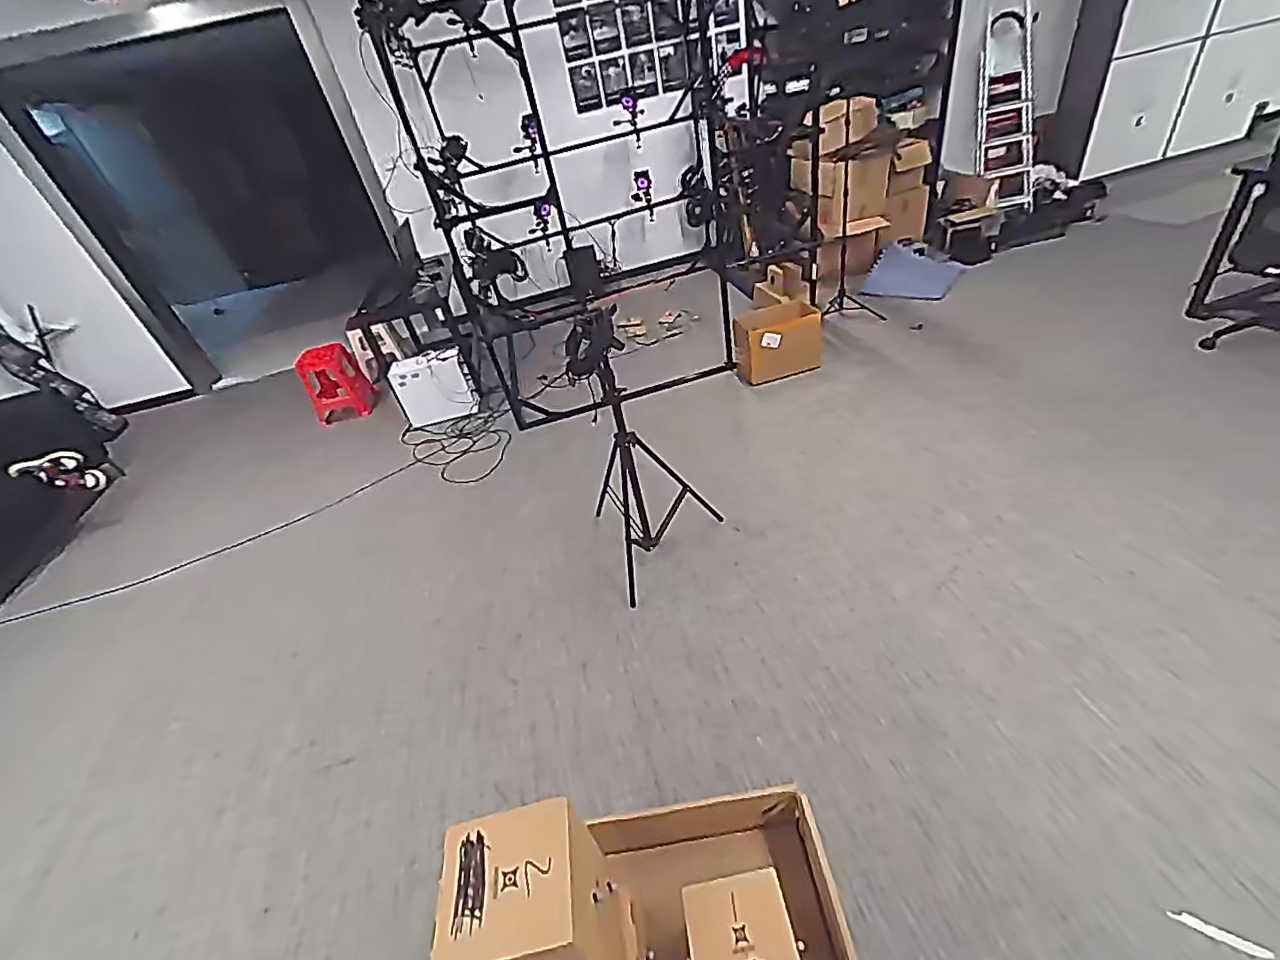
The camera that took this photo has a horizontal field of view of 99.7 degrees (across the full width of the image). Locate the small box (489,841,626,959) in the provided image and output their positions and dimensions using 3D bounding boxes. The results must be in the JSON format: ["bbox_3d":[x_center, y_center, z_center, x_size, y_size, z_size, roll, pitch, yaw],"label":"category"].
[{"bbox_3d":[-0.121,0.696,0.823,0.168,0.176,0.179,-15,36,-2],"label":"small box"}]

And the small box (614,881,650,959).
[{"bbox_3d":[-0.081,0.823,0.919,0.179,0.176,0.168,-13,37,0],"label":"small box"}]

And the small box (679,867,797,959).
[{"bbox_3d":[0.171,0.783,0.892,0.168,0.176,0.179,-13,36,1],"label":"small box"}]
